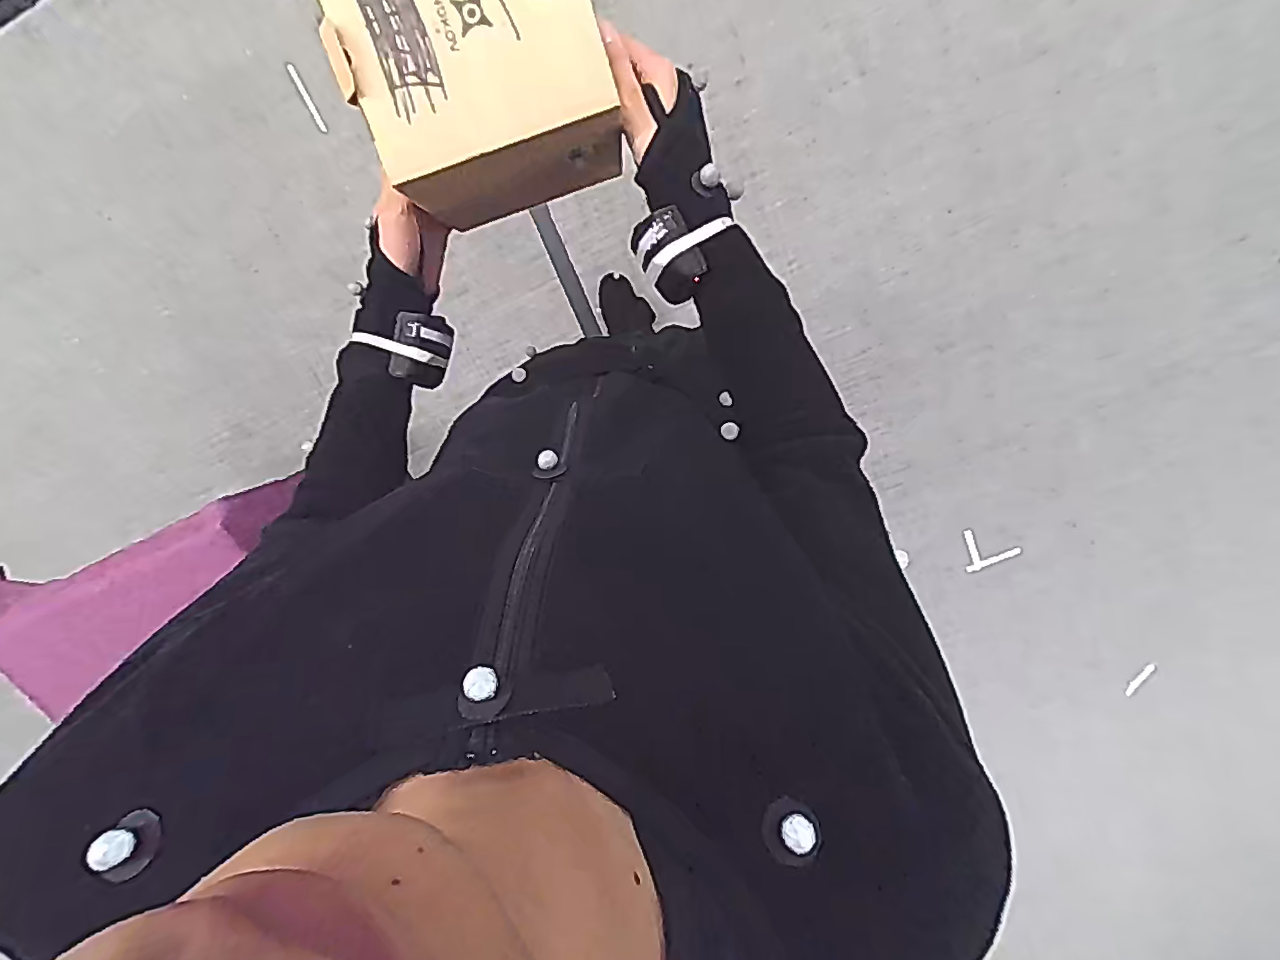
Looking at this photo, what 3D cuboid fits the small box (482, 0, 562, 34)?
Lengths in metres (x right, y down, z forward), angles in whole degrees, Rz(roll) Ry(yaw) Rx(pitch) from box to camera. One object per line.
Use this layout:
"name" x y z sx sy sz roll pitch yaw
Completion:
"small box" -0.283 -1.114 1.165 0.168 0.176 0.179 -26 108 9
